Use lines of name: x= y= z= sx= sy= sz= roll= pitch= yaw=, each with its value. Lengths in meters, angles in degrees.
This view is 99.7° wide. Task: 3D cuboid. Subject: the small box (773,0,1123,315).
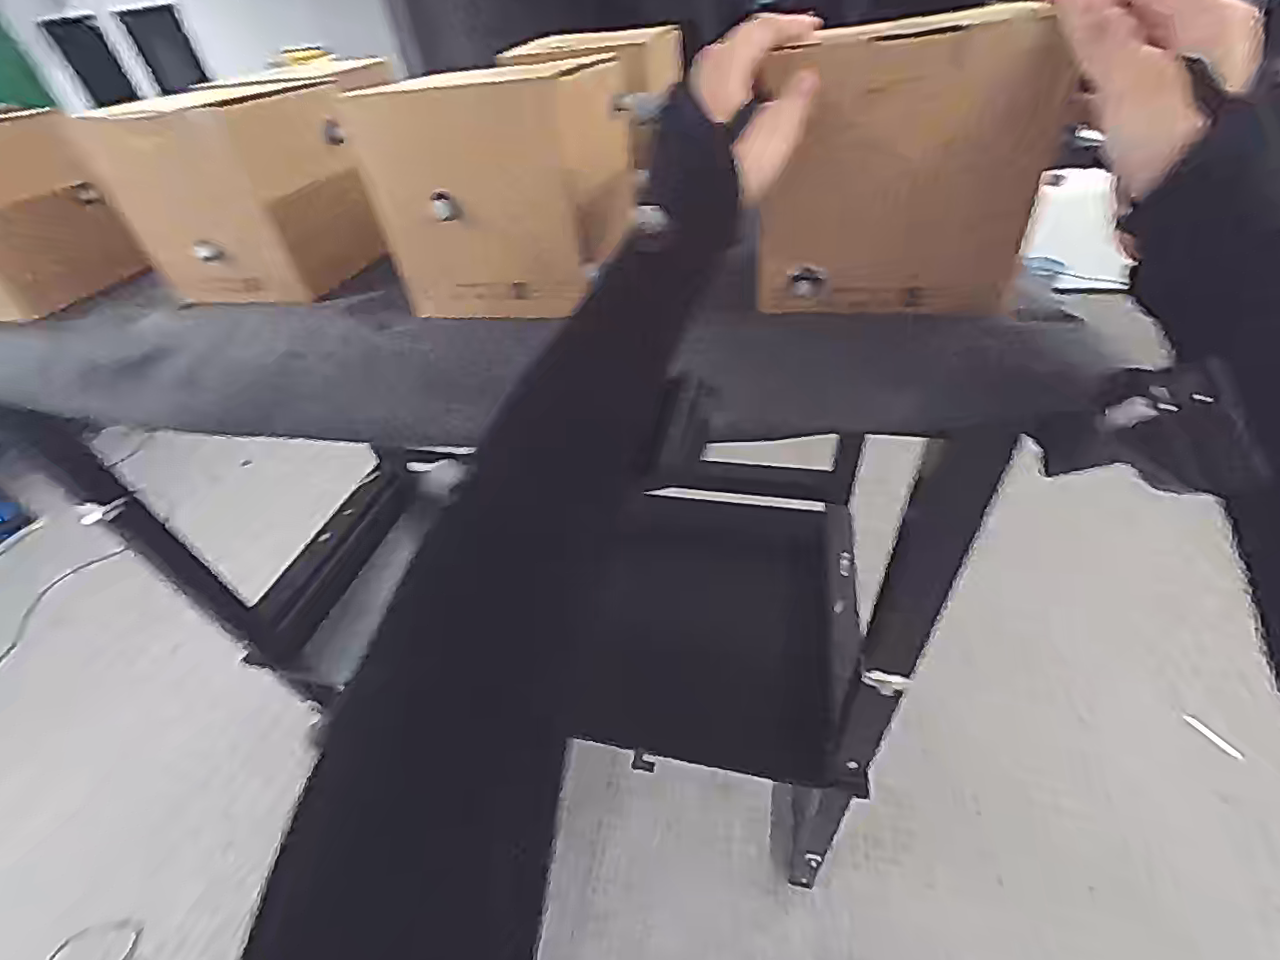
small box: x=0.188 y=-0.228 z=0.387 sx=0.168 sy=0.176 sz=0.179 roll=6 pitch=40 yaw=17

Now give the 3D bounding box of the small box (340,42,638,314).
small box: x=-0.101 y=-0.253 z=0.462 sx=0.168 sy=0.176 sz=0.179 roll=4 pitch=41 yaw=12

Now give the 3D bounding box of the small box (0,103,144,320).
small box: x=-0.702 y=-0.288 z=0.582 sx=0.168 sy=0.176 sz=0.179 roll=3 pitch=42 yaw=11

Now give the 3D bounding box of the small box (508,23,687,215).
small box: x=-0.036 y=-0.437 z=0.659 sx=0.168 sy=0.176 sz=0.179 roll=5 pitch=43 yaw=13
